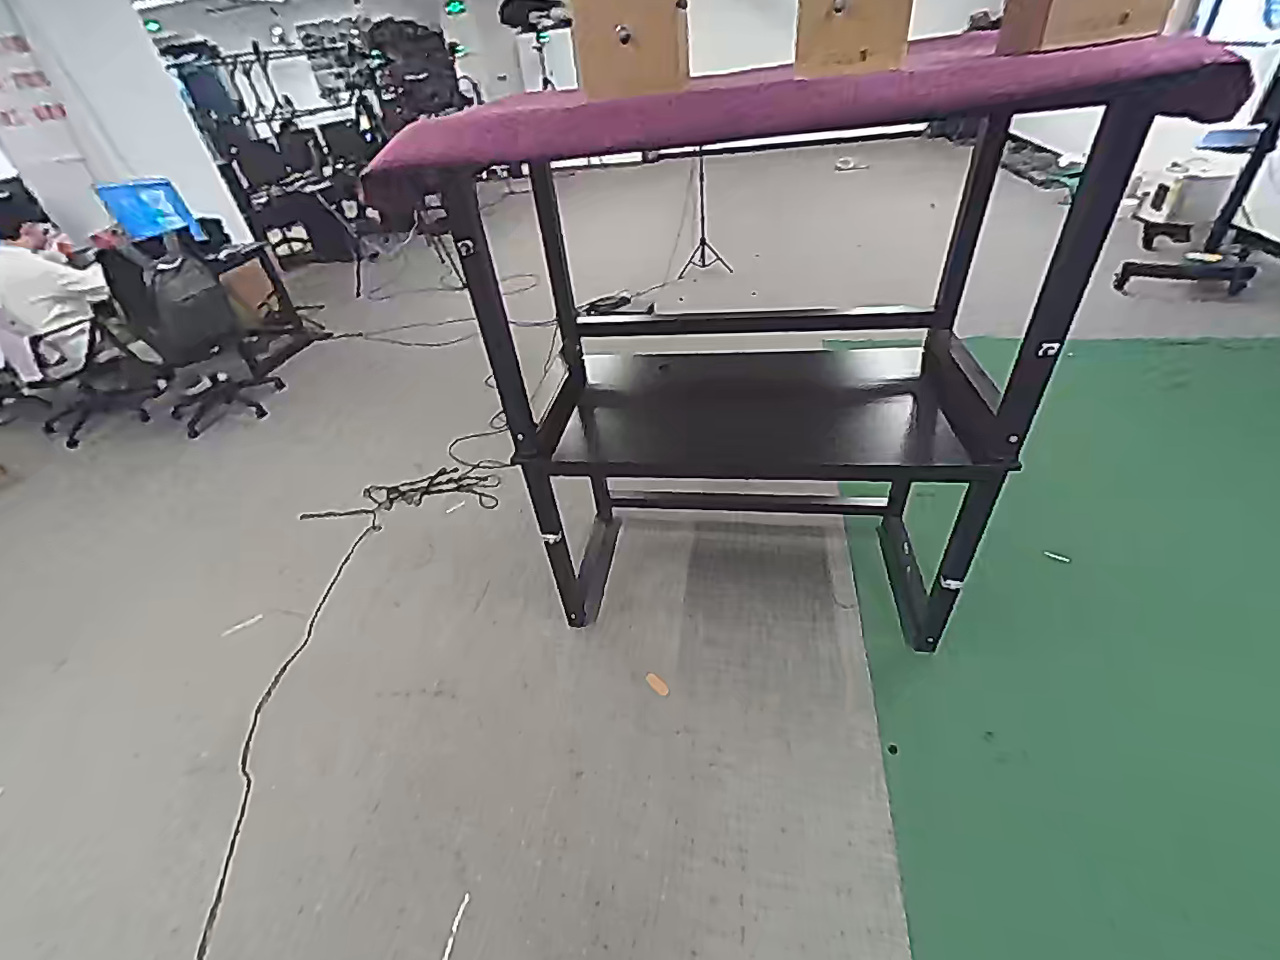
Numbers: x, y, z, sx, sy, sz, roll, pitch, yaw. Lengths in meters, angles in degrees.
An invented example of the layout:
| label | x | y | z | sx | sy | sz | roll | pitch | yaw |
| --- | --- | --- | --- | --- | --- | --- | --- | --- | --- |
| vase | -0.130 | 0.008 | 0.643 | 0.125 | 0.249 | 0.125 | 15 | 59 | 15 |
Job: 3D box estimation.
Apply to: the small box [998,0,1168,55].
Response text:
| label | x | y | z | sx | sy | sz | roll | pitch | yaw |
| --- | --- | --- | --- | --- | --- | --- | --- | --- | --- |
| small box | 0.682 | -0.765 | 0.821 | 0.168 | 0.176 | 0.179 | 0 | 36 | 9 |

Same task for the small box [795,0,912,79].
| label | x | y | z | sx | sy | sz | roll | pitch | yaw |
| --- | --- | --- | --- | --- | --- | --- | --- | --- | --- |
| small box | 0.345 | -0.766 | 0.878 | 0.168 | 0.176 | 0.179 | 5 | 38 | 15 |
